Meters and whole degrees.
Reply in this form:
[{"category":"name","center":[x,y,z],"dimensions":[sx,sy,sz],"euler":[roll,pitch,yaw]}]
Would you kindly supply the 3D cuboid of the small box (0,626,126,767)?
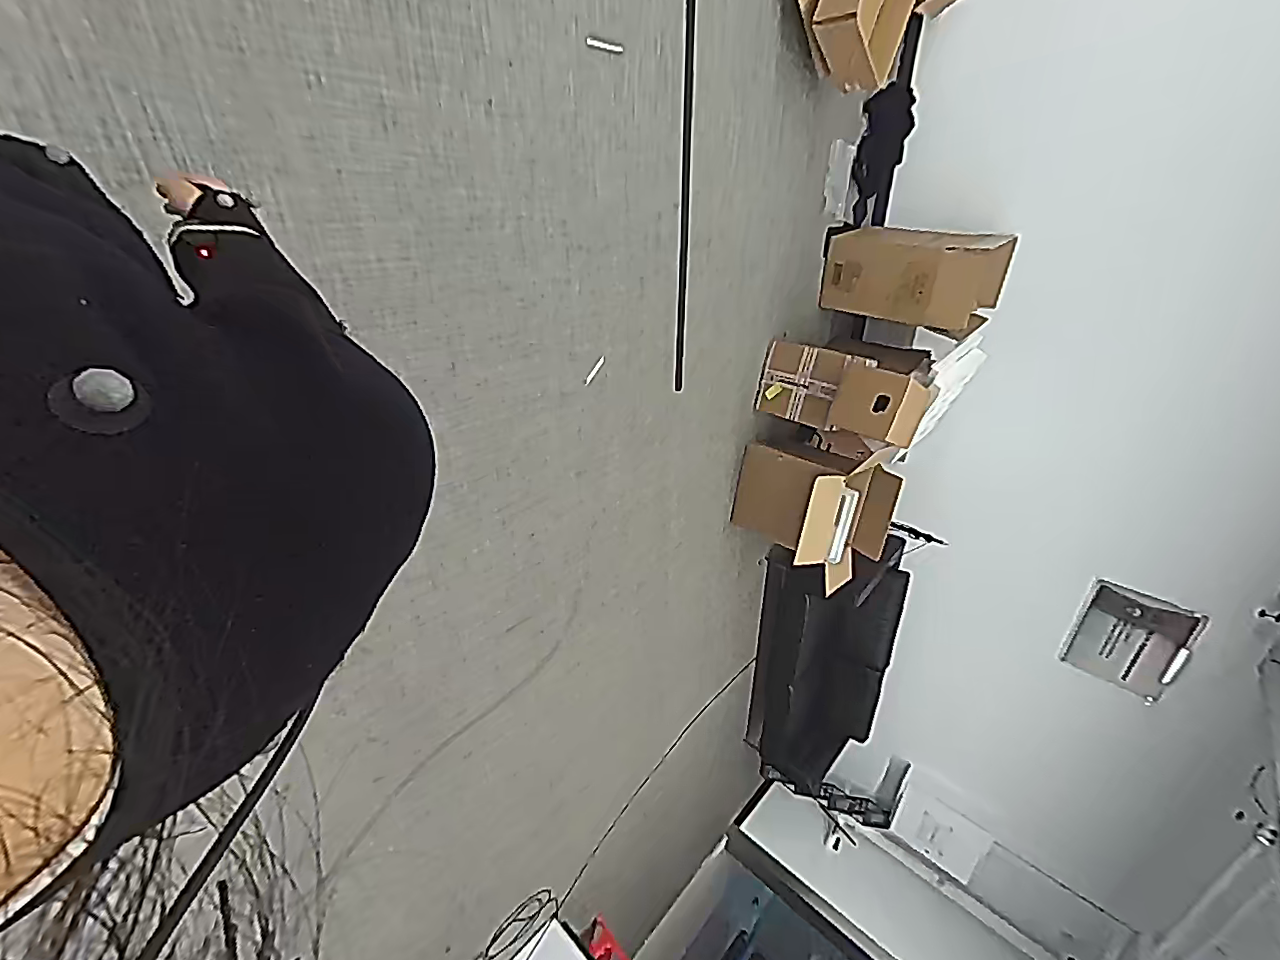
[{"category":"small box","center":[-1.227,0.442,1.129],"dimensions":[0.168,0.176,0.179],"euler":[-28,130,-39]}]
